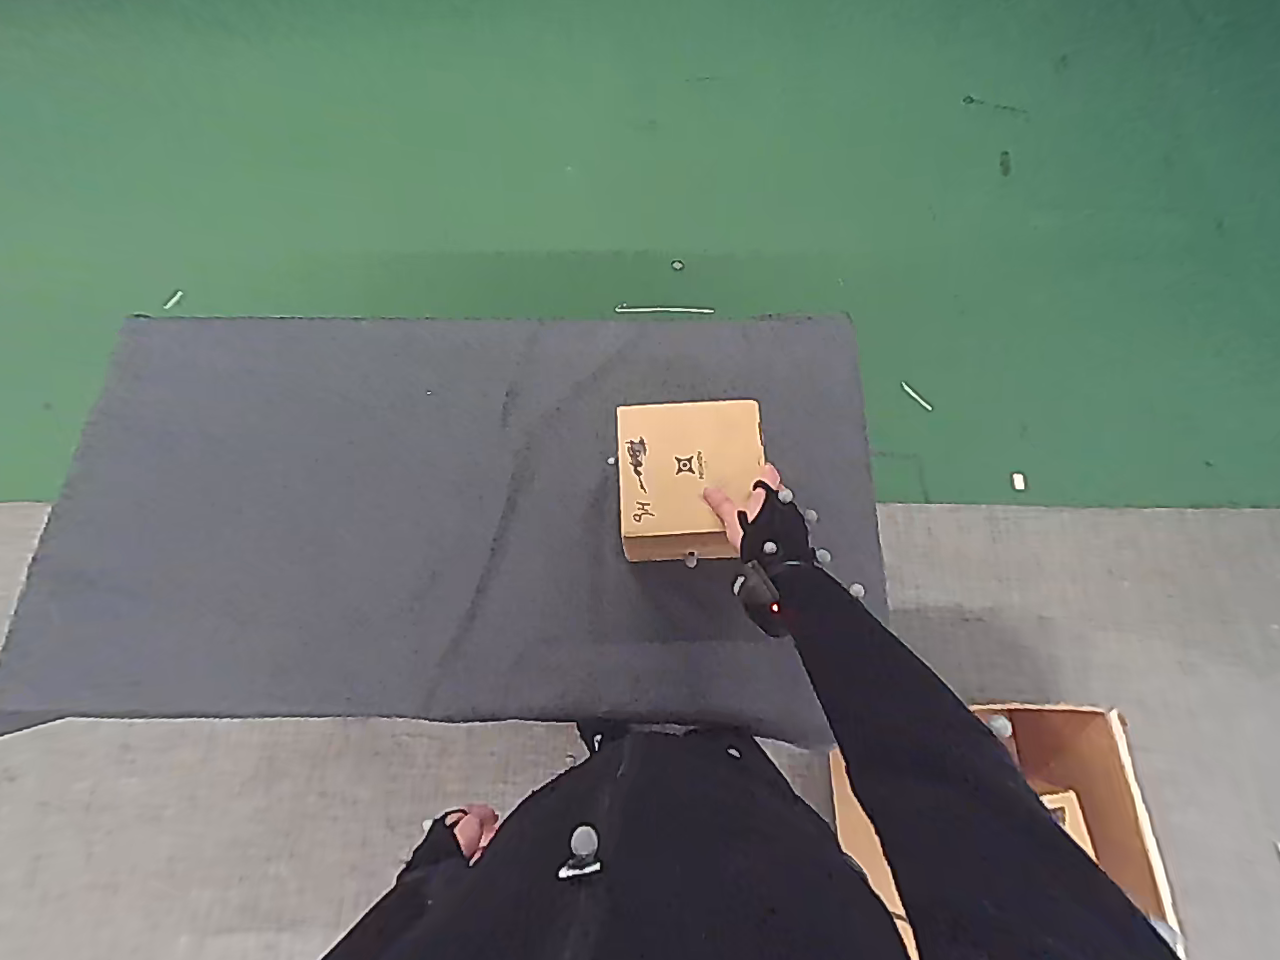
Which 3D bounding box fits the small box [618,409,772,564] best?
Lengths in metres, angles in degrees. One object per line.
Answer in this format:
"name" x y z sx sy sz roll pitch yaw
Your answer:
"small box" 0.065 0.016 0.732 0.179 0.176 0.168 -5 73 0
